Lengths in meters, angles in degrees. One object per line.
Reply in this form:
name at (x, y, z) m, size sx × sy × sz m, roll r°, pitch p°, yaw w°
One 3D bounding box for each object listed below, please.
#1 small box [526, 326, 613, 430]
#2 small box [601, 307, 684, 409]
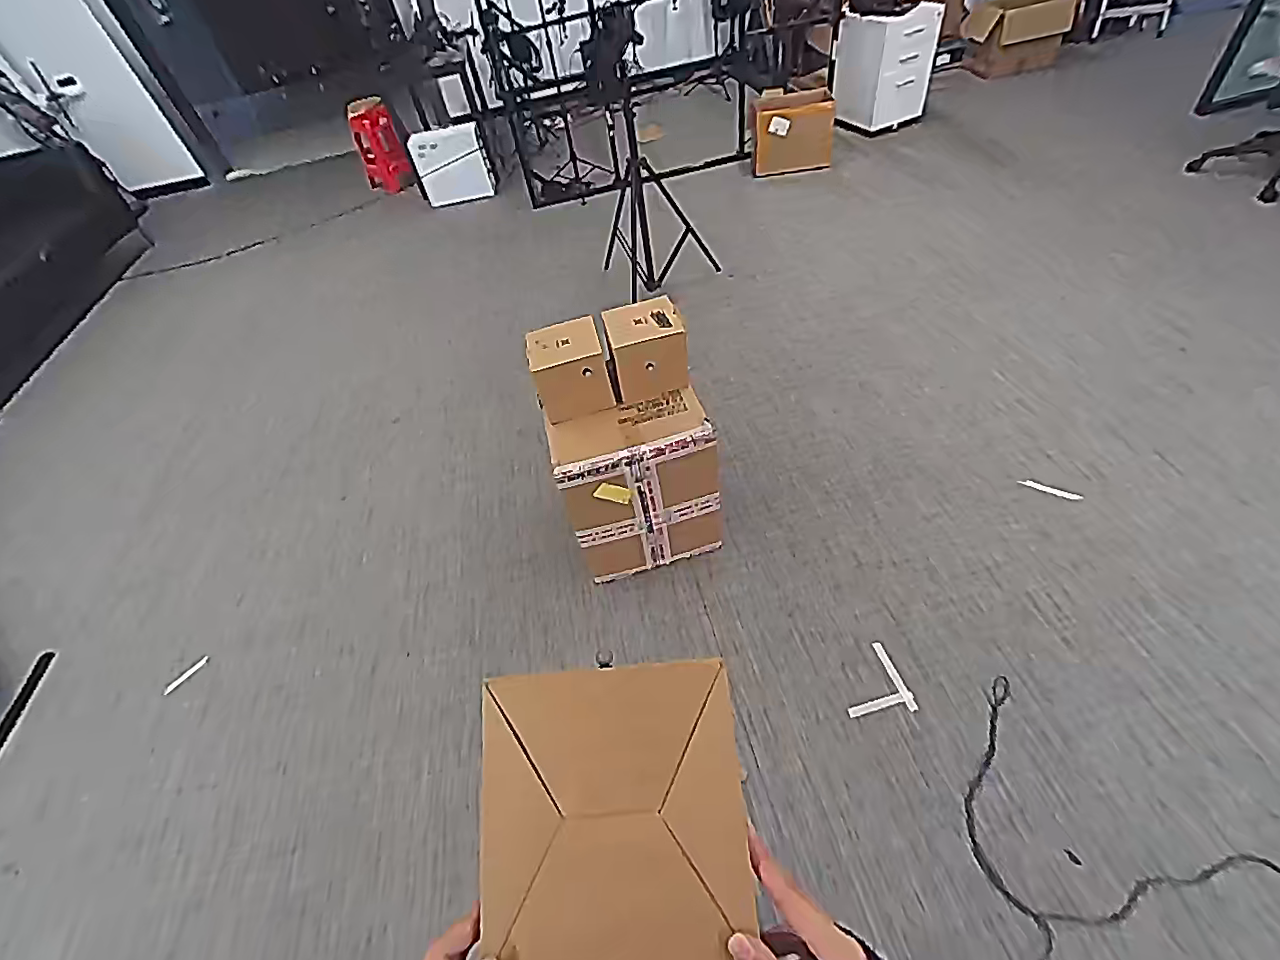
small box at (-0.172, -0.253, 1.357) m, size 0.179 × 0.176 × 0.168 m, roll -16°, pitch 48°, yaw 0°
small box at (0.010, -0.307, 1.369) m, size 0.179 × 0.176 × 0.168 m, roll -15°, pitch 49°, yaw -3°
